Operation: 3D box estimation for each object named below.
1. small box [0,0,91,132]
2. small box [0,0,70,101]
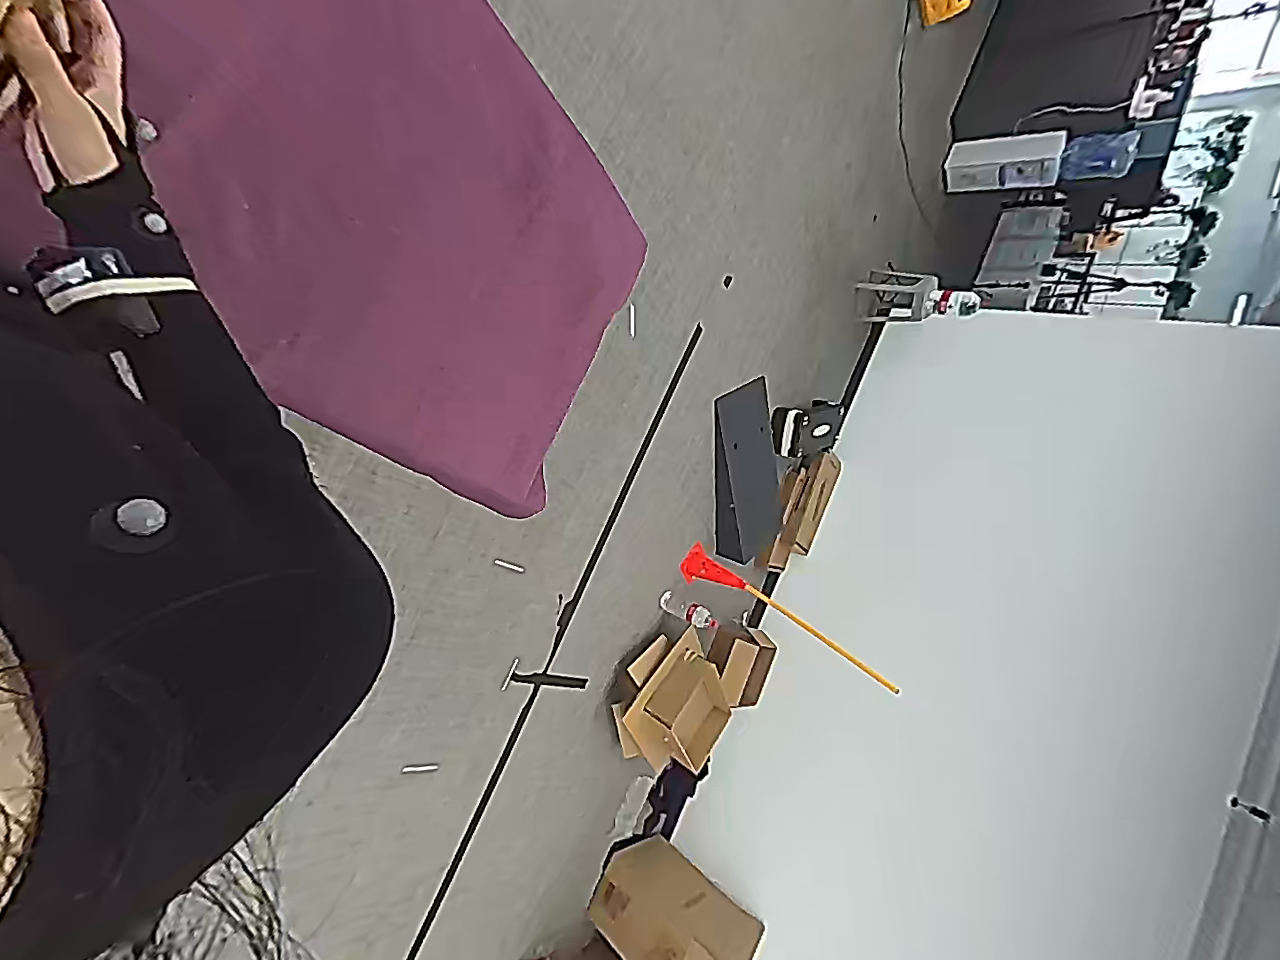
[{"bbox_3d":[-0.533,-0.374,0.382,0.168,0.176,0.179,36,75,-52],"label":"small box"},{"bbox_3d":[-0.405,-0.342,0.278,0.168,0.176,0.179,29,81,-51],"label":"small box"}]
